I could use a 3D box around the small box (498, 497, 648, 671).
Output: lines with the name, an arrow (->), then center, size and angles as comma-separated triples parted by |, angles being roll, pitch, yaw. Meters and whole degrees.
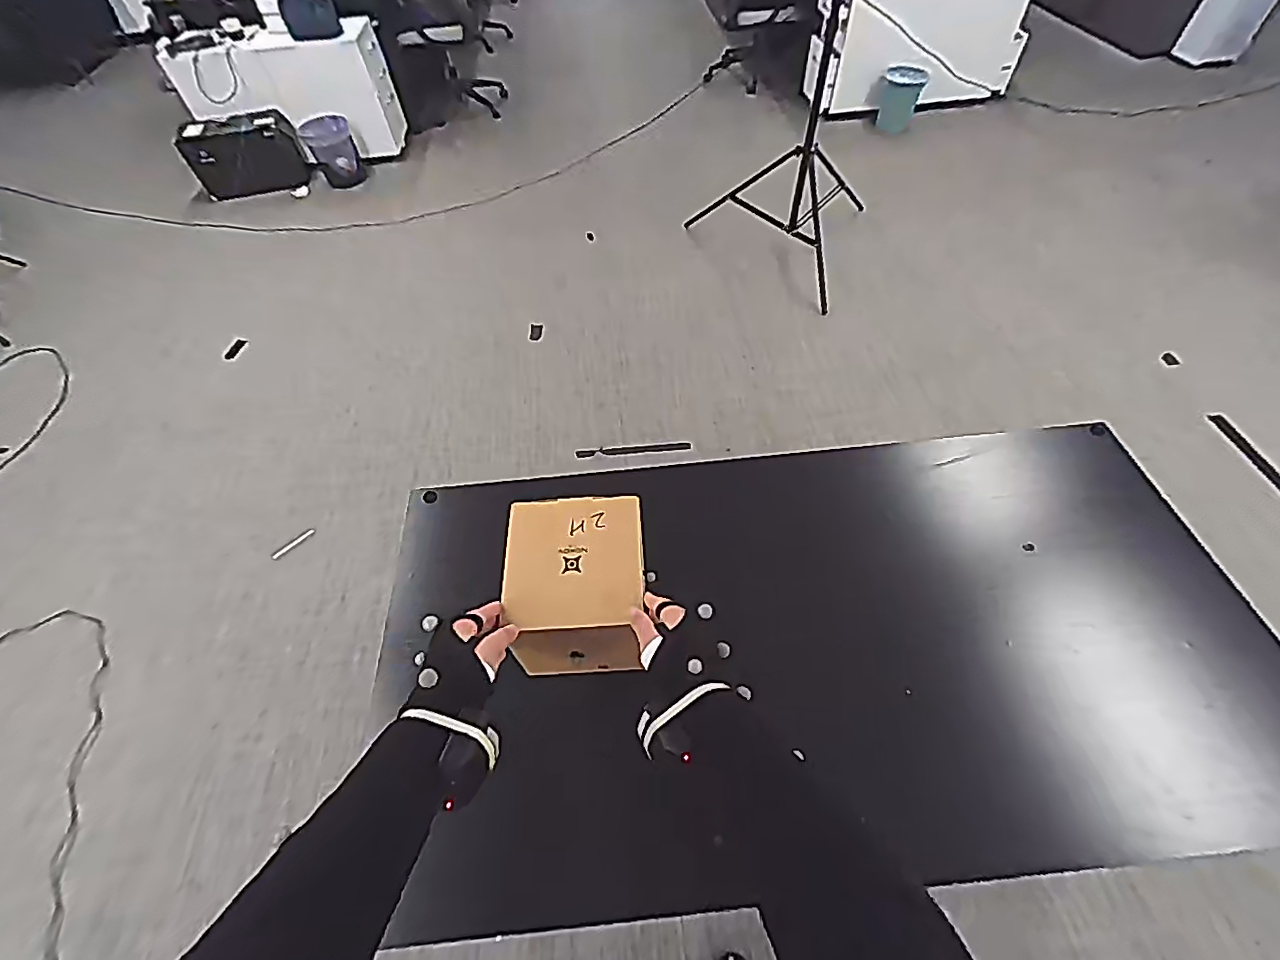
small box -> -0.078, 0.145, 0.718 | 0.168, 0.176, 0.179 | -4, 53, 0
